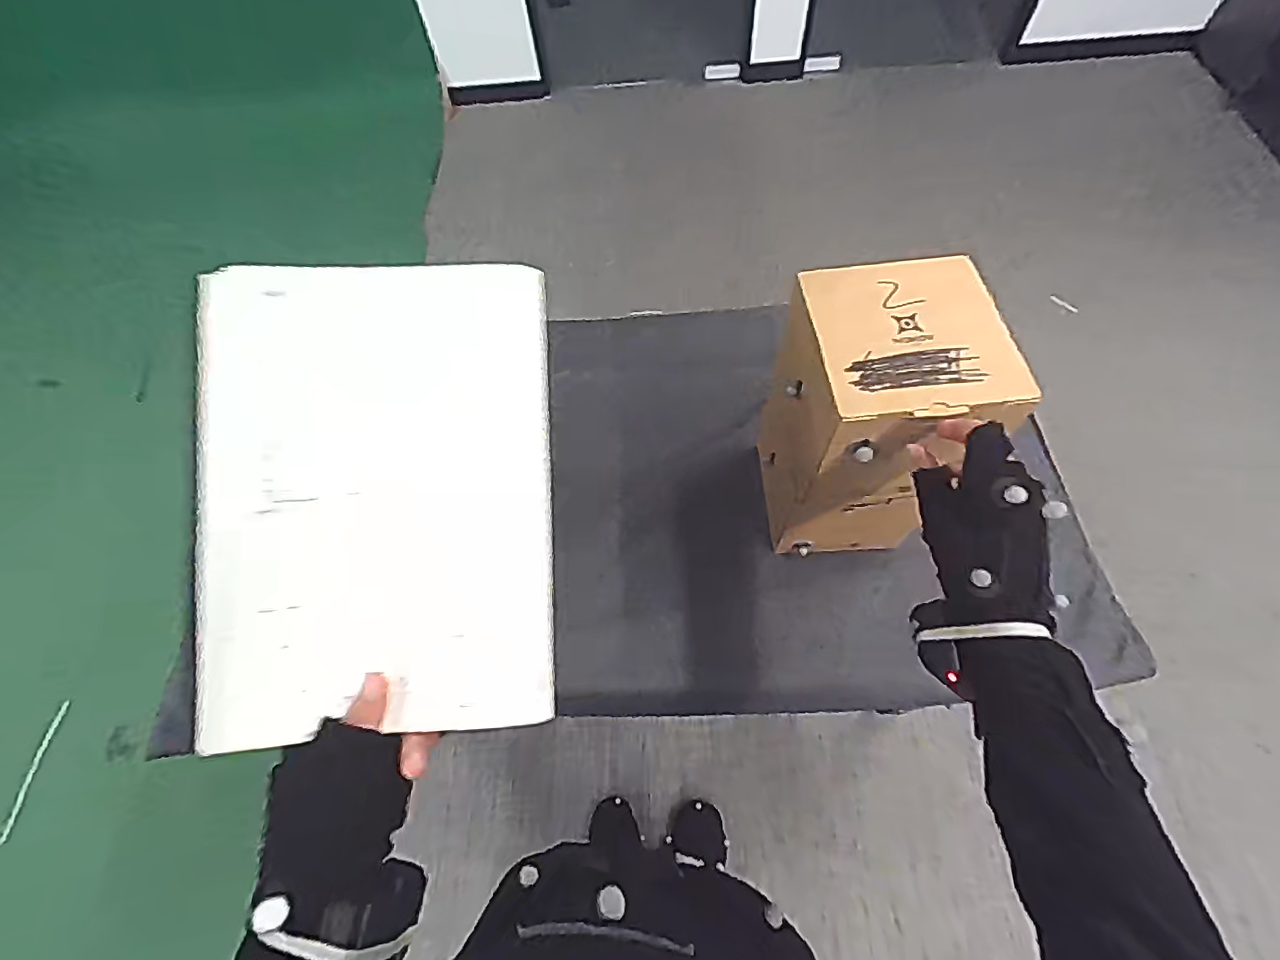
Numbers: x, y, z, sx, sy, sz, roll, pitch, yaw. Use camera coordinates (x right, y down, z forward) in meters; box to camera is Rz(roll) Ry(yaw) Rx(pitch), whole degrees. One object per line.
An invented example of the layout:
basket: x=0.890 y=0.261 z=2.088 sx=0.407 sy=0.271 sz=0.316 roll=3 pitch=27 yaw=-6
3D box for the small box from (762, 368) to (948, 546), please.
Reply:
small box: x=0.259 y=-0.020 z=0.699 sx=0.168 sy=0.176 sz=0.179 roll=-3 pitch=61 yaw=2
